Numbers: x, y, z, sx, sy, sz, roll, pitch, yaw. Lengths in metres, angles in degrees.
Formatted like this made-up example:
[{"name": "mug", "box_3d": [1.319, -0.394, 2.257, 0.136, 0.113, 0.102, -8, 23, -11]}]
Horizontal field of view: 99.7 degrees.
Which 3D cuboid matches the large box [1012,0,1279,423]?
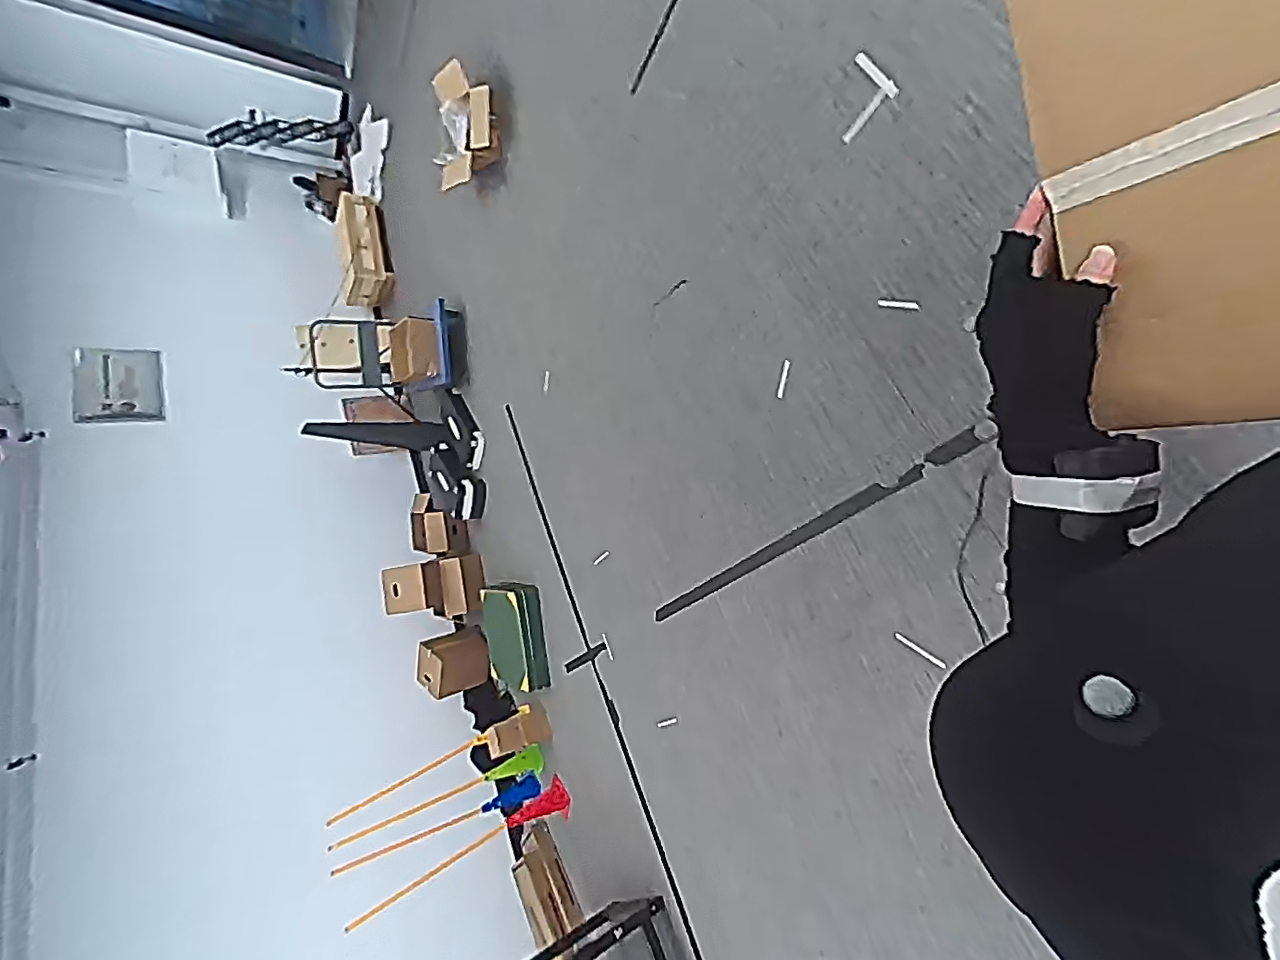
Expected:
[{"name": "large box", "box_3d": [0.480, -0.242, 0.252, 0.408, 0.320, 0.320, -1, 113, 57]}]
